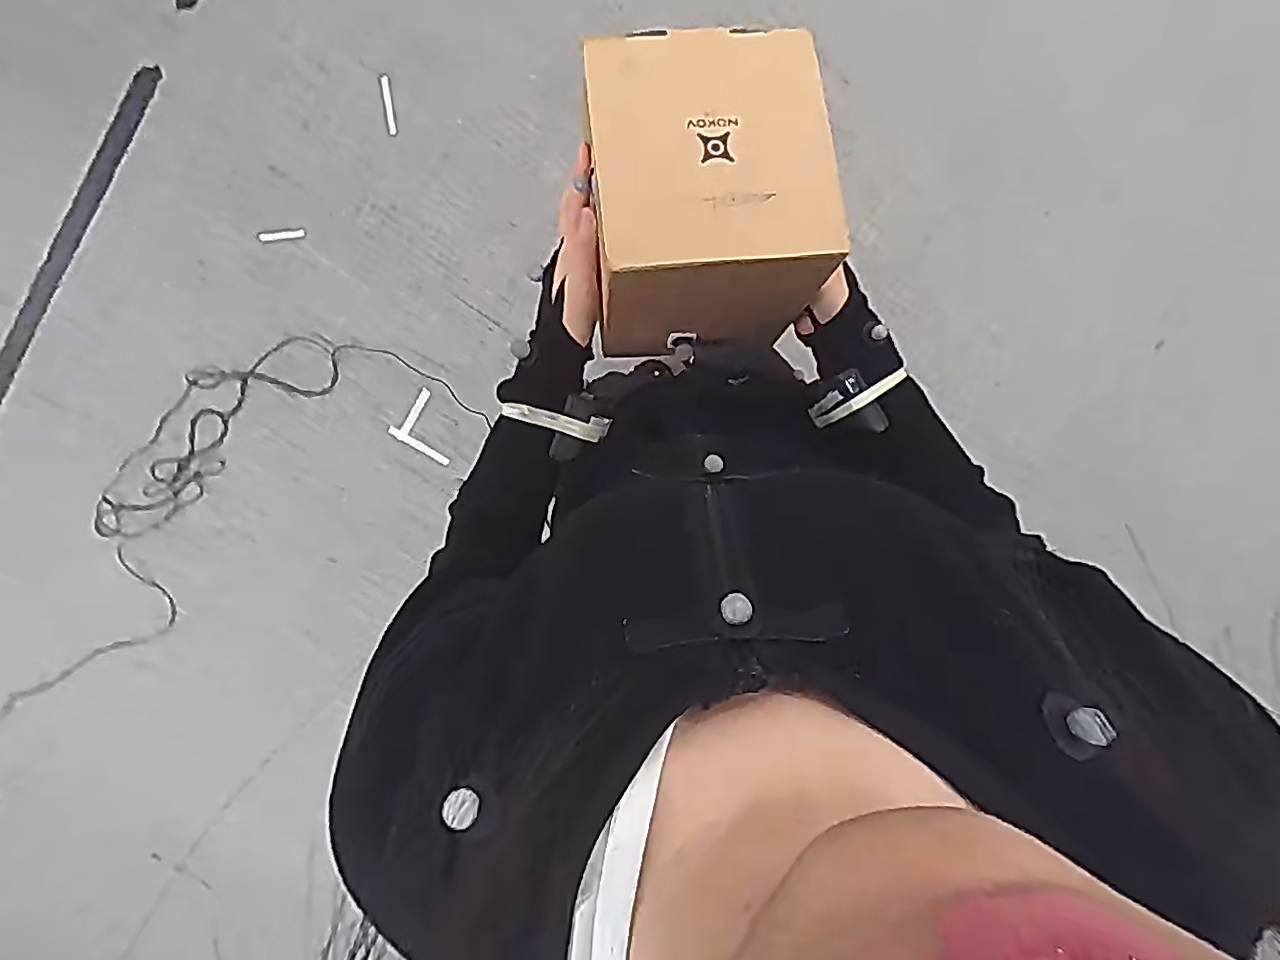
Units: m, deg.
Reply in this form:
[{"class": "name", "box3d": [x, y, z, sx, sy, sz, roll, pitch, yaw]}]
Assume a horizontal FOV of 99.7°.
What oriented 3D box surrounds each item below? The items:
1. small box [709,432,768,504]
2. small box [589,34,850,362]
[{"class": "small box", "box3d": [0.300, -0.005, 1.444, 0.168, 0.176, 0.179, 40, 99, -12]}, {"class": "small box", "box3d": [0.047, -0.217, 0.451, 0.168, 0.176, 0.179, -7, 83, -5]}]
